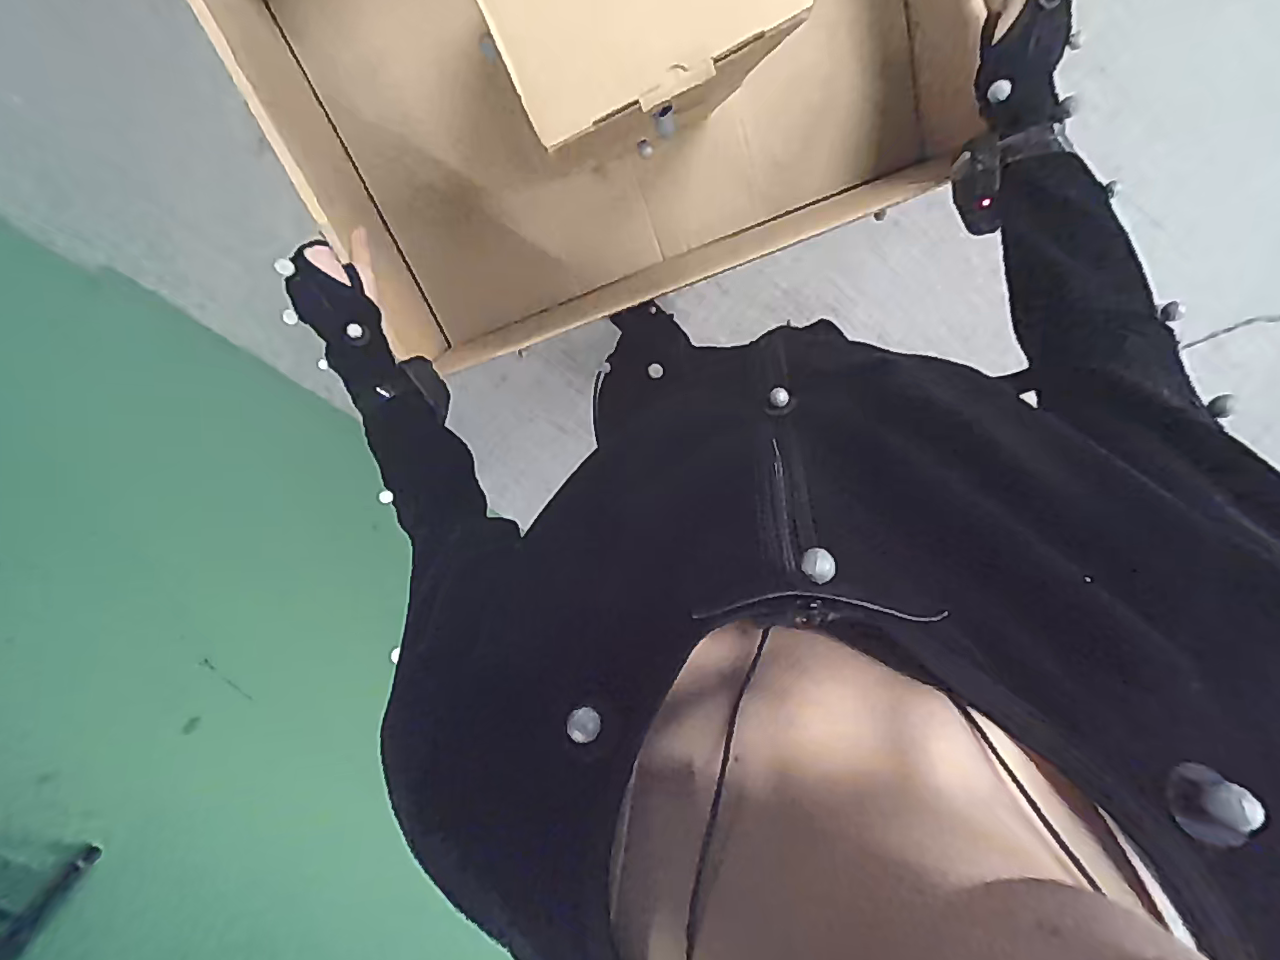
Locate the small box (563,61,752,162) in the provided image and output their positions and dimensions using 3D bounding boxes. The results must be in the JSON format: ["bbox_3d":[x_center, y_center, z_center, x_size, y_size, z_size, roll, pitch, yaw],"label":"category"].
[{"bbox_3d":[-0.020,-0.405,0.472,0.168,0.176,0.179,-20,117,7],"label":"small box"}]

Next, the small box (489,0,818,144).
[{"bbox_3d":[-0.014,-0.329,0.327,0.168,0.176,0.179,-22,117,7],"label":"small box"}]
